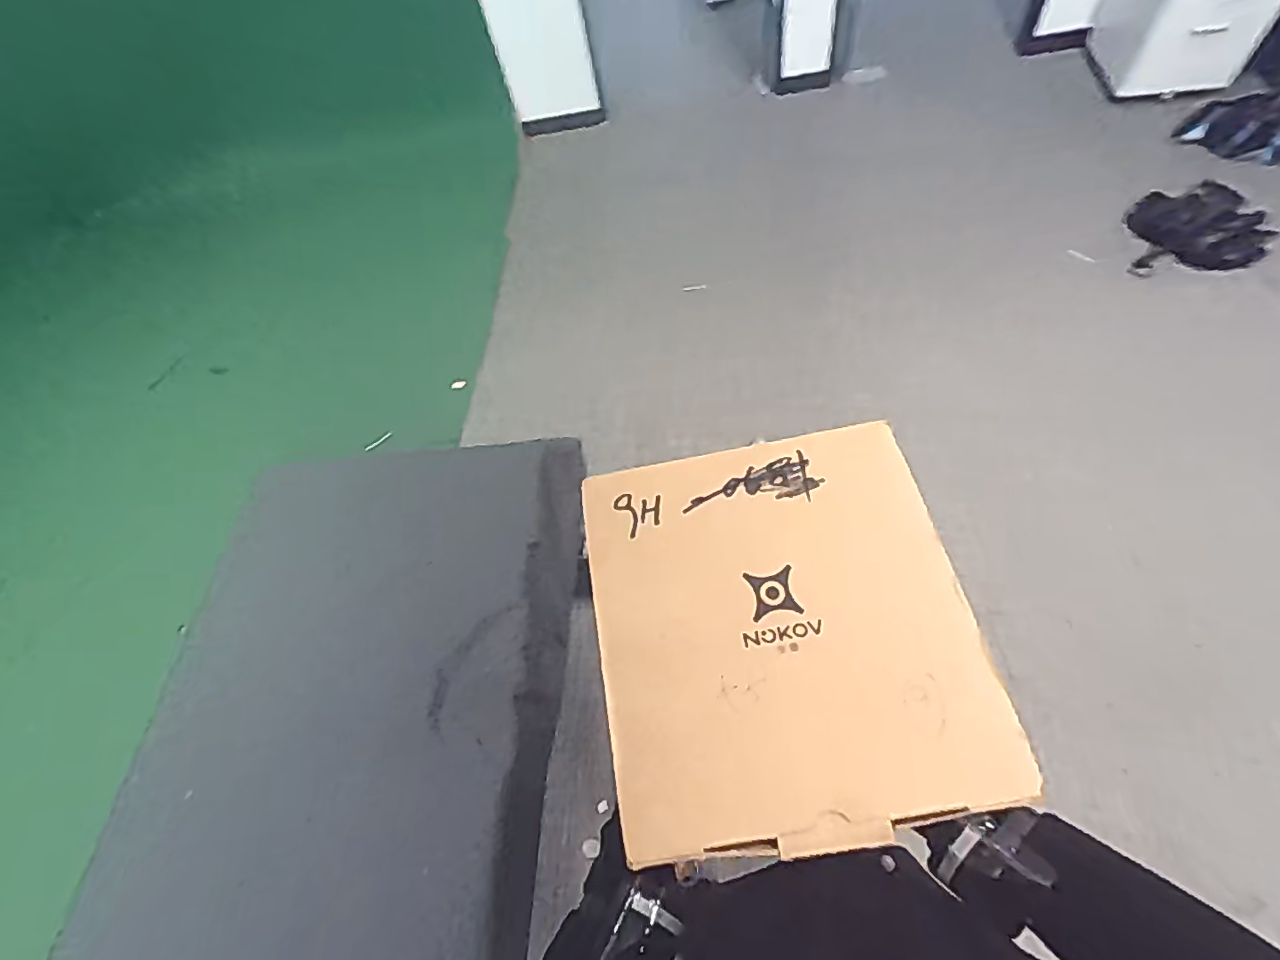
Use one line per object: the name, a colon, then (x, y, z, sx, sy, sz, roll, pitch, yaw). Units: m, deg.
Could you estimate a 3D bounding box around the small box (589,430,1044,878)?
small box: (0.074, 0.097, 0.317, 0.168, 0.176, 0.179, -10, 65, 3)
